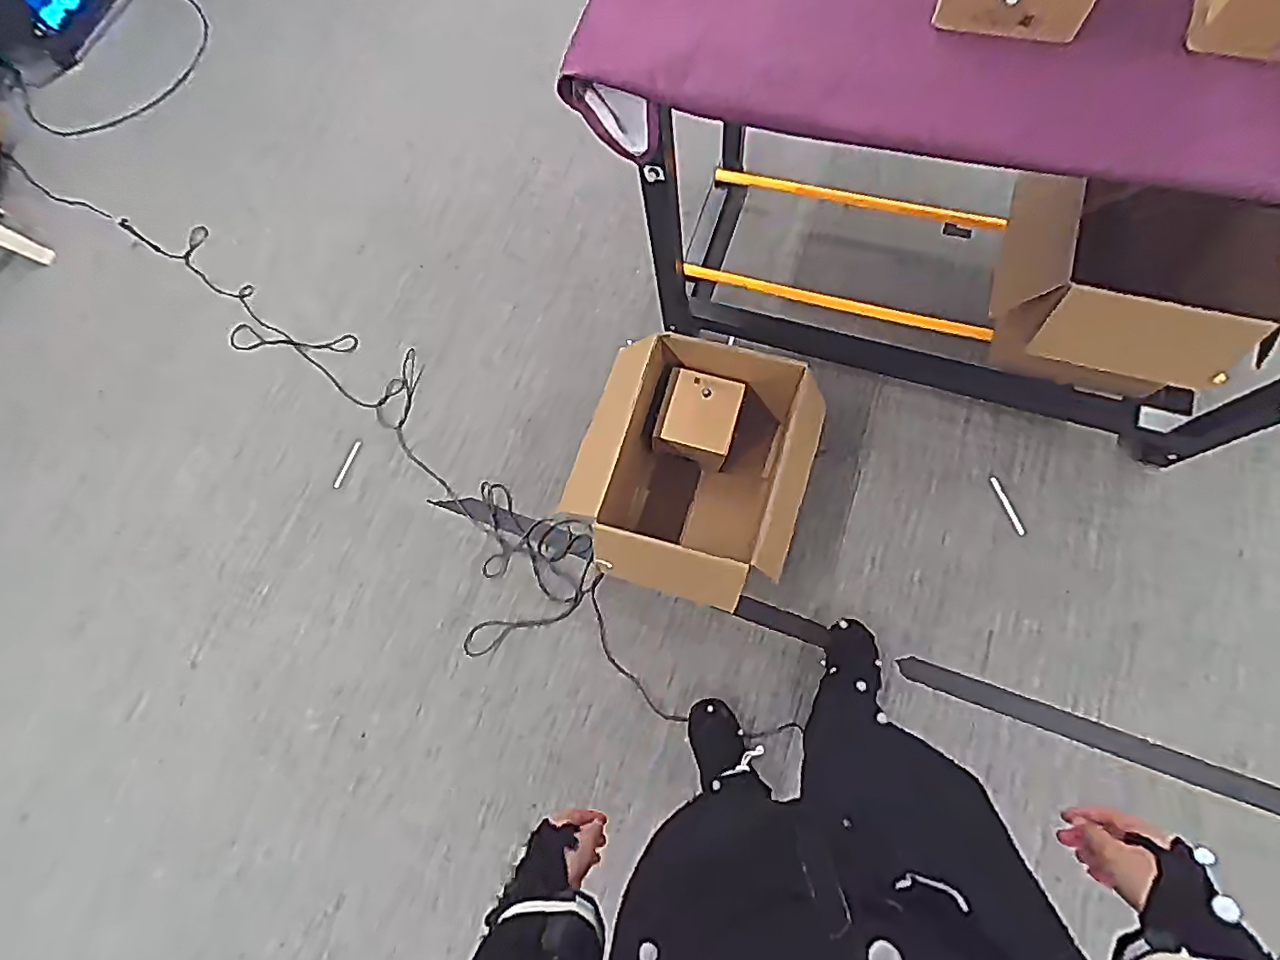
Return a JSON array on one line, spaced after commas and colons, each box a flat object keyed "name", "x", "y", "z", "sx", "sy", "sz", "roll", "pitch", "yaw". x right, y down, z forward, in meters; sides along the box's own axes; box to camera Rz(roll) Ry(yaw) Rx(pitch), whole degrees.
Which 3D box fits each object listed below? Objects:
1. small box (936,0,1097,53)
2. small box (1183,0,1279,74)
[{"name": "small box", "x": 0.473, "y": -0.654, "z": 0.630, "sx": 0.168, "sy": 0.176, "sz": 0.179, "roll": 17, "pitch": 77, "yaw": 12}, {"name": "small box", "x": 0.743, "y": -0.571, "z": 0.567, "sx": 0.179, "sy": 0.176, "sz": 0.168, "roll": 19, "pitch": 76, "yaw": 13}]
